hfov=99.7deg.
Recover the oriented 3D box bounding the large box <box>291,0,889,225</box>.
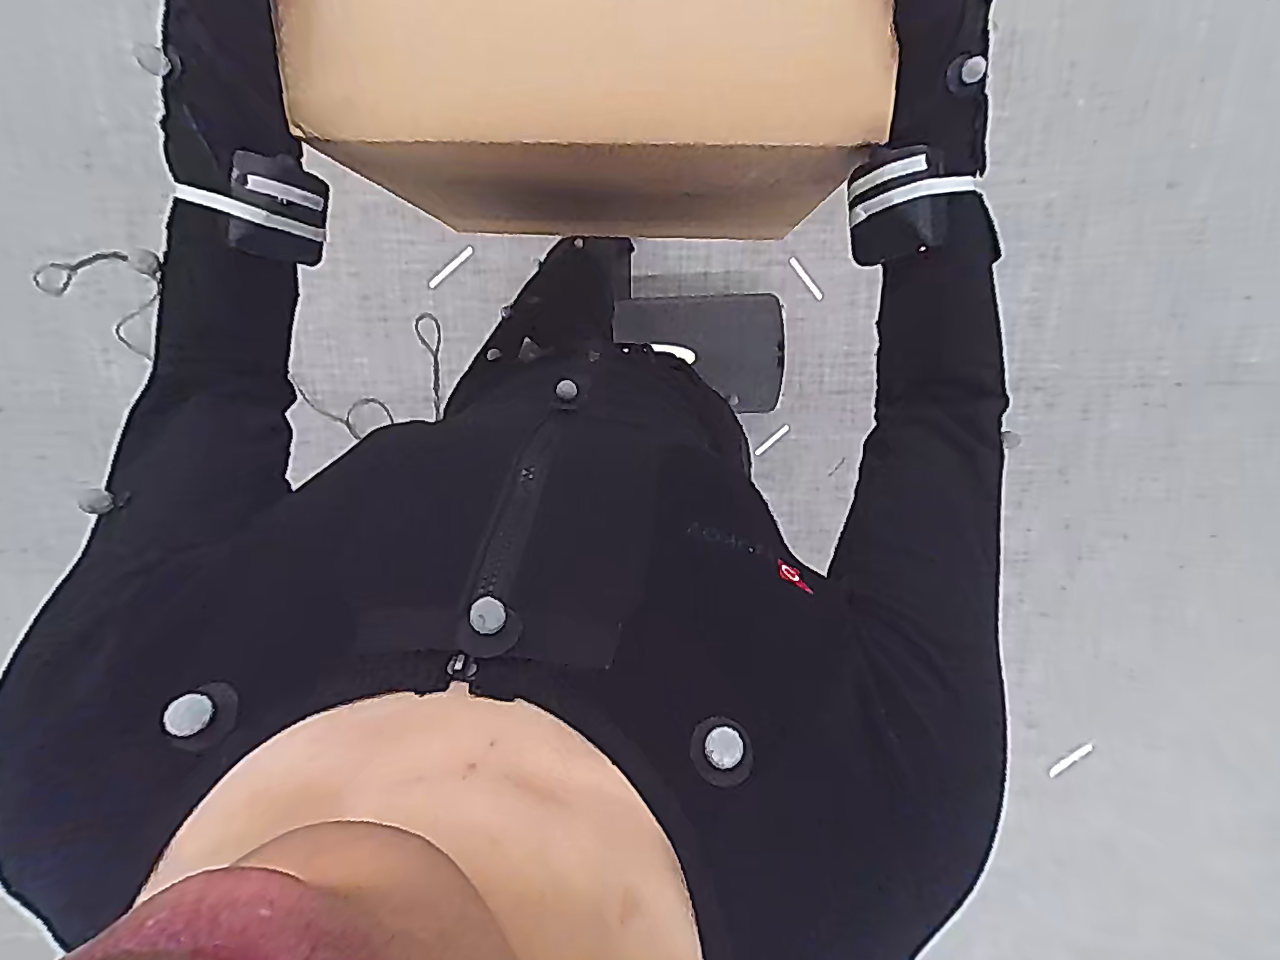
[{"bbox_3d":[-0.031,-0.430,0.483,0.408,0.320,0.320,2,104,2],"label":"large box"}]
